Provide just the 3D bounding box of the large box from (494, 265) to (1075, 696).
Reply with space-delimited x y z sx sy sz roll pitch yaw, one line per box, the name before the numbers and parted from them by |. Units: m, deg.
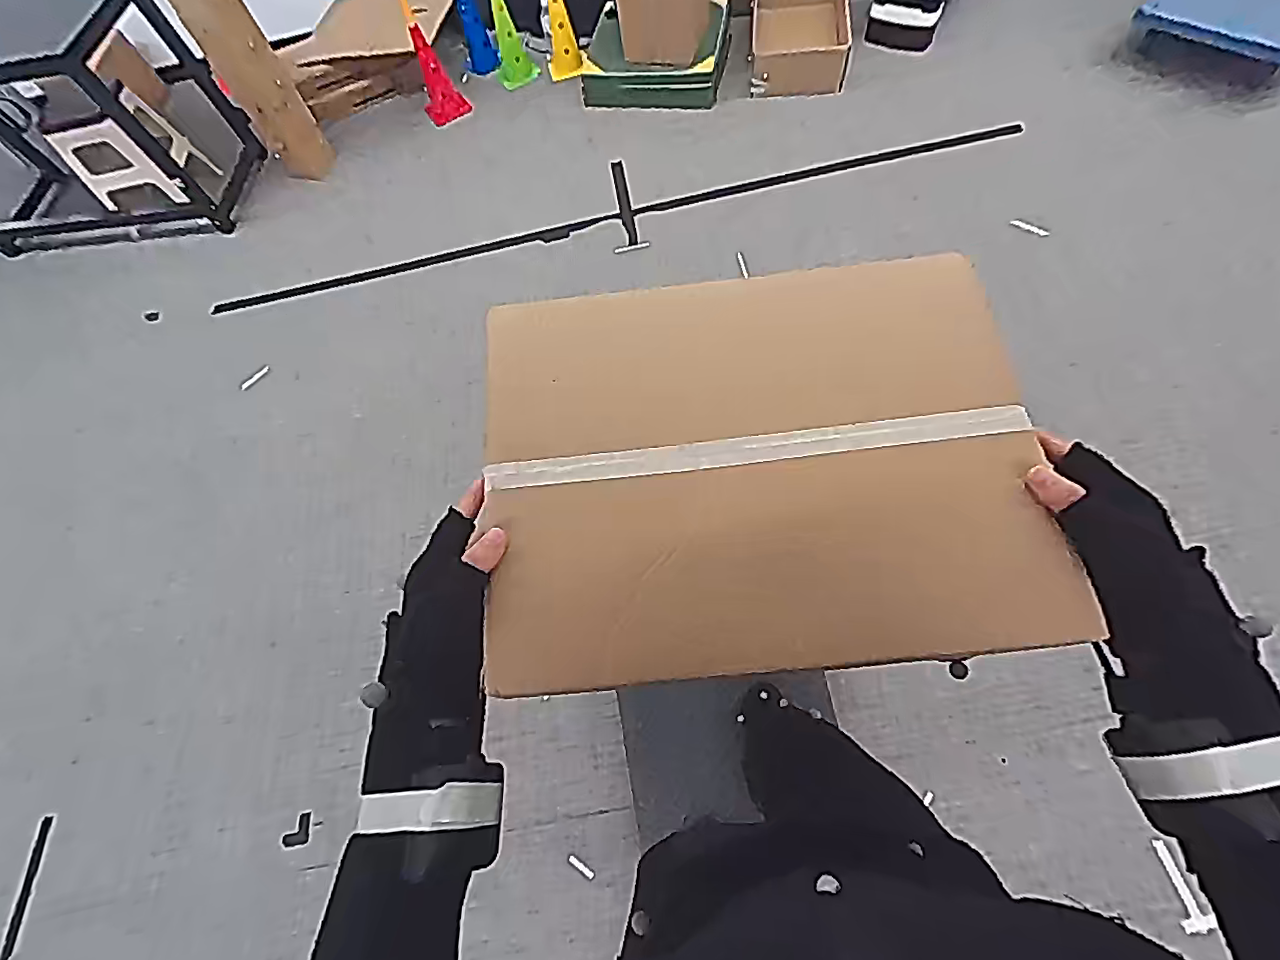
large box | 0.097 0.030 0.559 0.408 0.320 0.320 -7 70 2
